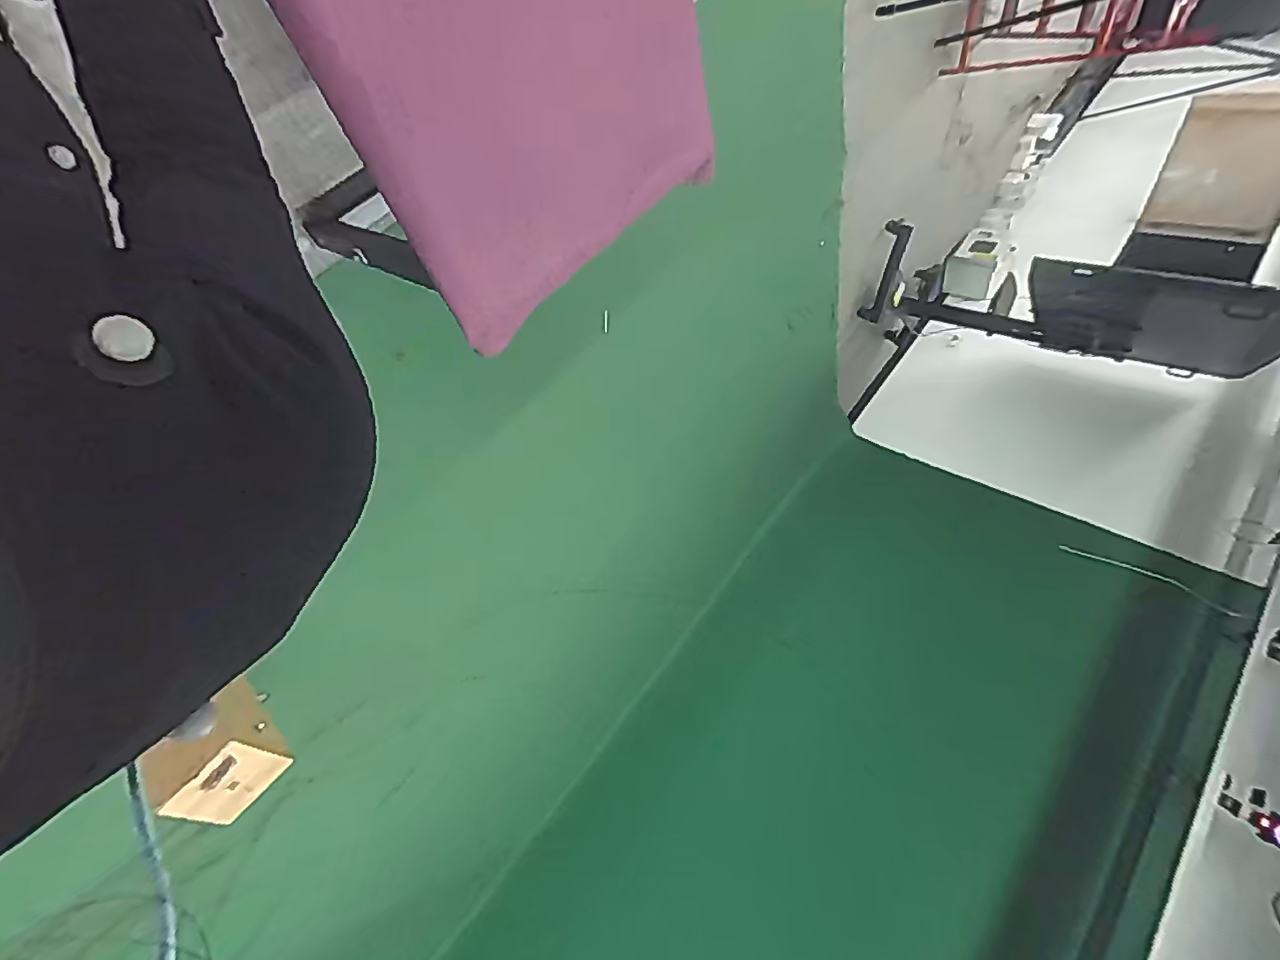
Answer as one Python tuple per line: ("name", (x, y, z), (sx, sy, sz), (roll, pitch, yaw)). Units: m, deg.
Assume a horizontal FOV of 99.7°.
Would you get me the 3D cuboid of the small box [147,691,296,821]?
("small box", (-0.898, 0.586, 1.160), (0.168, 0.176, 0.179), (-46, 144, -20))
